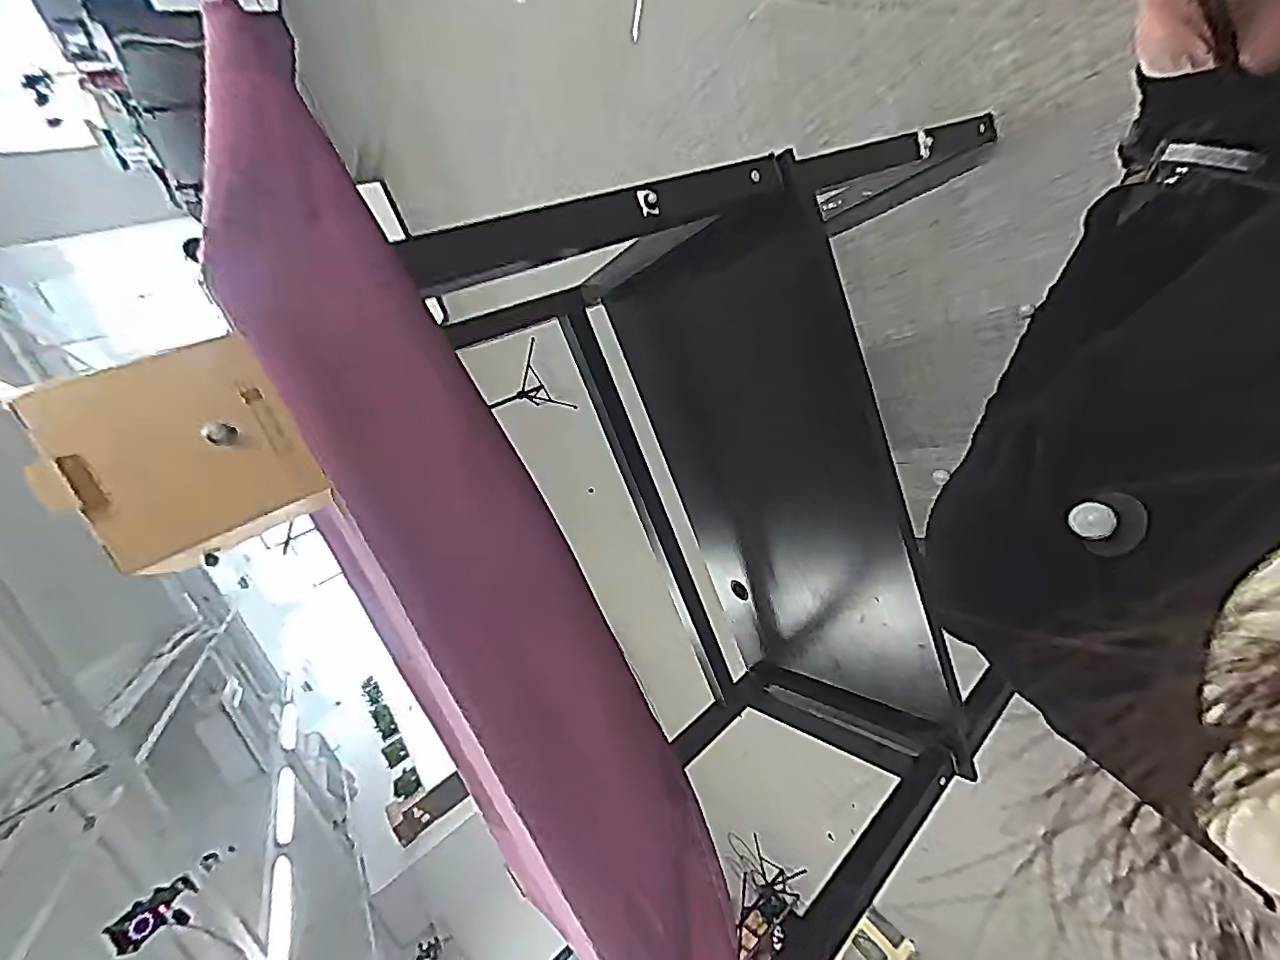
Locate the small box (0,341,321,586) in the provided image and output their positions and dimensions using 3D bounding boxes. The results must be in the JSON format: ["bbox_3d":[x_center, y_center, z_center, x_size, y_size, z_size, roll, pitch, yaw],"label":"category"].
[{"bbox_3d":[-0.438,-0.014,0.533,0.179,0.176,0.168,-14,104,60],"label":"small box"}]
